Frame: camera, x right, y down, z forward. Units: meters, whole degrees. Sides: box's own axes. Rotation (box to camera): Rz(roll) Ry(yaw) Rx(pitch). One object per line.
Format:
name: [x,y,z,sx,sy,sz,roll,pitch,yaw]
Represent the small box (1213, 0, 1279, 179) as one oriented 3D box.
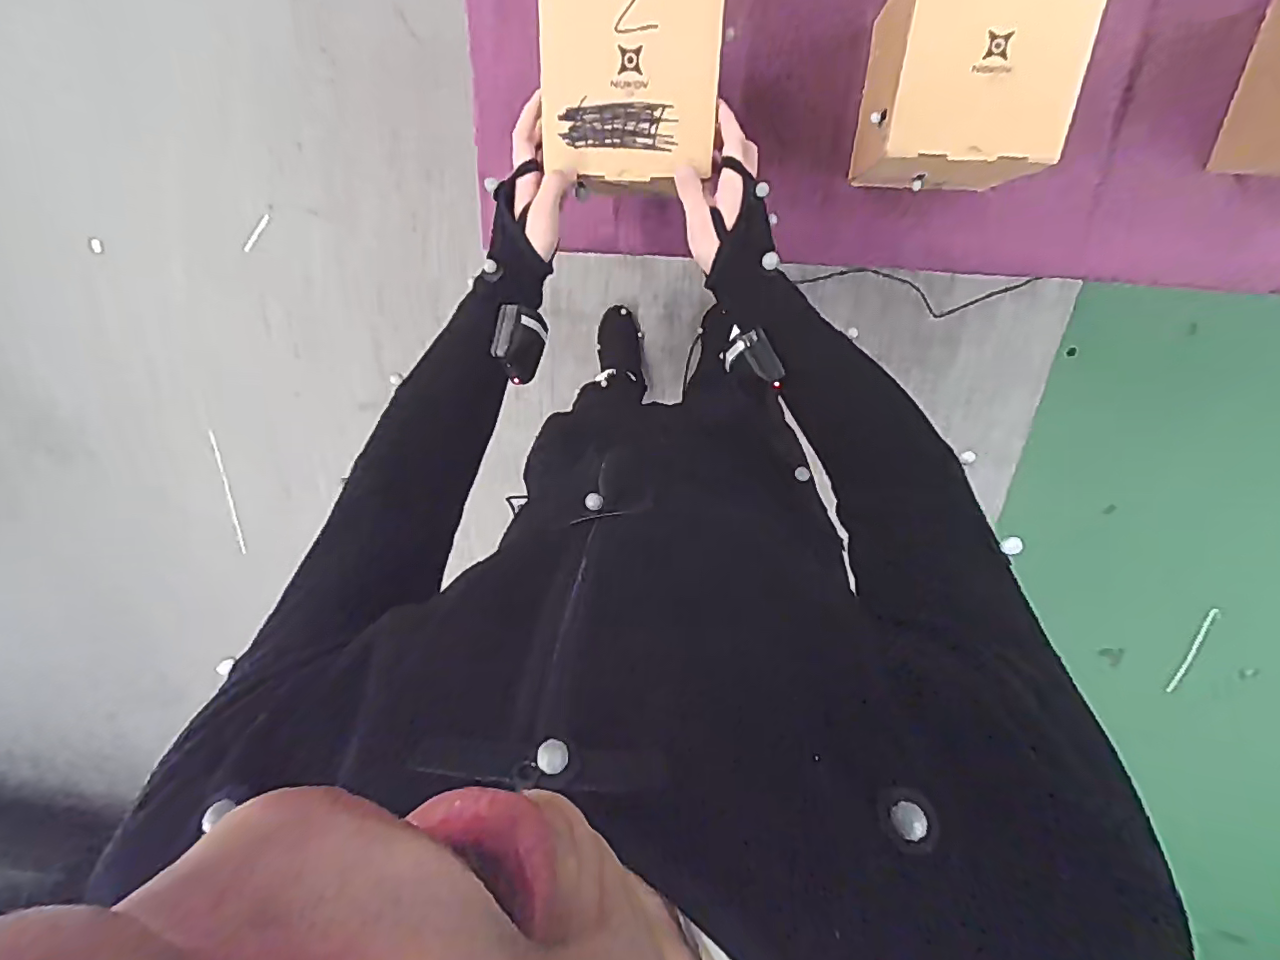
small box: [0.735,-0.404,0.522,0.168,0.176,0.179,8,111,7]
